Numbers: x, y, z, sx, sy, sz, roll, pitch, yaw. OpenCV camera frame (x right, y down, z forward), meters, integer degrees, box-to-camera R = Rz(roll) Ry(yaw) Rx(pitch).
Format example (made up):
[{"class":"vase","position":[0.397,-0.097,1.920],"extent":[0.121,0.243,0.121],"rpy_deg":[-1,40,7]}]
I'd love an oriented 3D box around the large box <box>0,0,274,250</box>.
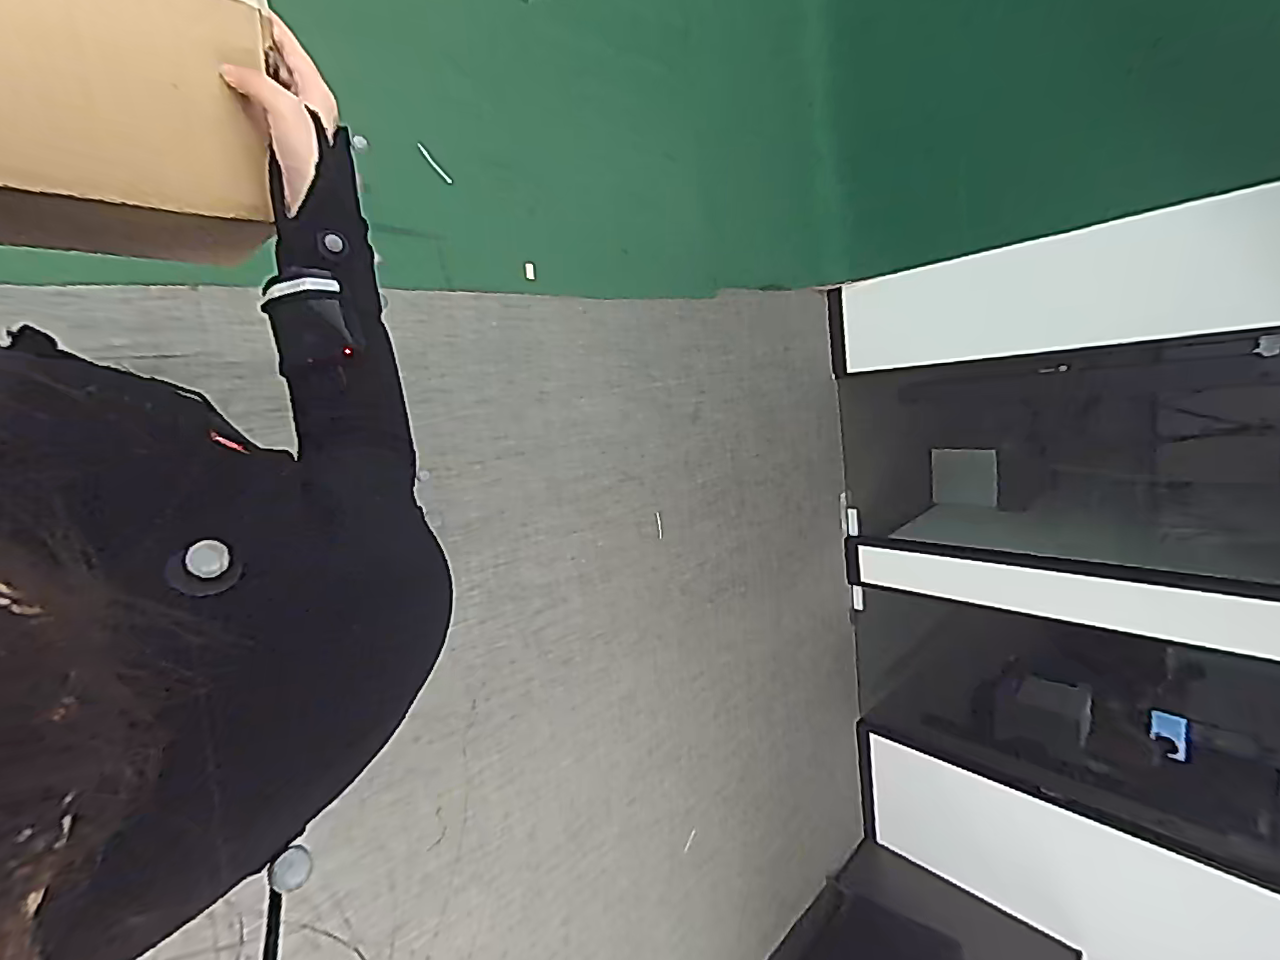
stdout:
[{"class":"large box","position":[-0.541,-0.358,0.384],"extent":[0.408,0.320,0.320],"rpy_deg":[-11,108,-40]}]
